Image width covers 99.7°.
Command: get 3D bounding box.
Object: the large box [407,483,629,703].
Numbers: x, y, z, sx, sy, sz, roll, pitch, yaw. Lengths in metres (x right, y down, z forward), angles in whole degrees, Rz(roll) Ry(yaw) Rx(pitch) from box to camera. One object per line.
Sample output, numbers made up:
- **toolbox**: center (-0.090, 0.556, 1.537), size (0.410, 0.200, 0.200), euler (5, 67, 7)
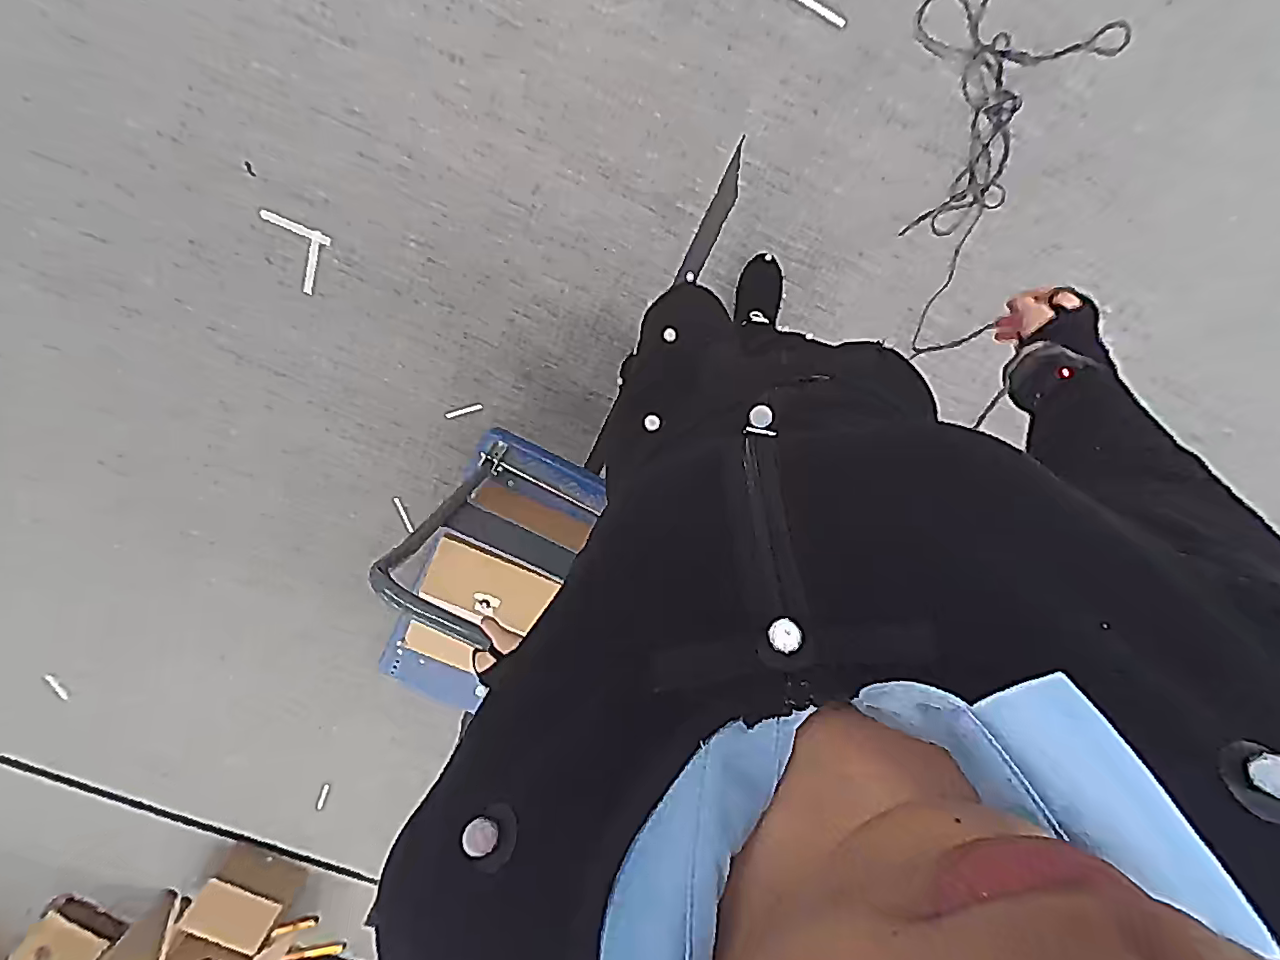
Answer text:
- **large box**: center (-0.273, 0.261, 1.318), size (0.408, 0.320, 0.320), euler (24, 110, -6)
